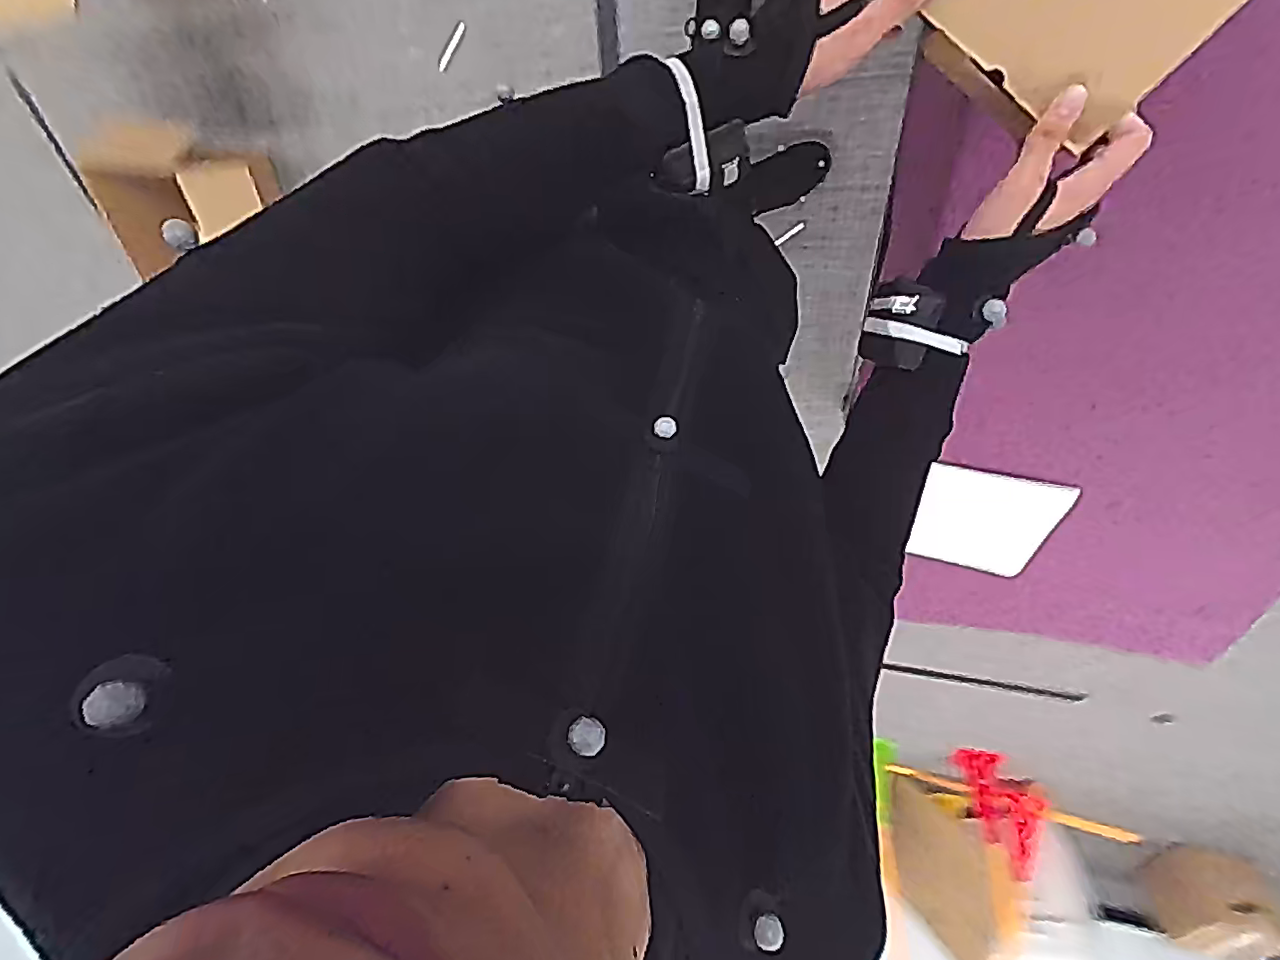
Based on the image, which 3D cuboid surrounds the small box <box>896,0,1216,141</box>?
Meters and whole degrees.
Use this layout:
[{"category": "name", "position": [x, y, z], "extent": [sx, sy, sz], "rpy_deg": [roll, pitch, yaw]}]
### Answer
[{"category": "small box", "position": [0.294, -0.380, 0.362], "extent": [0.168, 0.176, 0.179], "rpy_deg": [31, 138, -12]}]
